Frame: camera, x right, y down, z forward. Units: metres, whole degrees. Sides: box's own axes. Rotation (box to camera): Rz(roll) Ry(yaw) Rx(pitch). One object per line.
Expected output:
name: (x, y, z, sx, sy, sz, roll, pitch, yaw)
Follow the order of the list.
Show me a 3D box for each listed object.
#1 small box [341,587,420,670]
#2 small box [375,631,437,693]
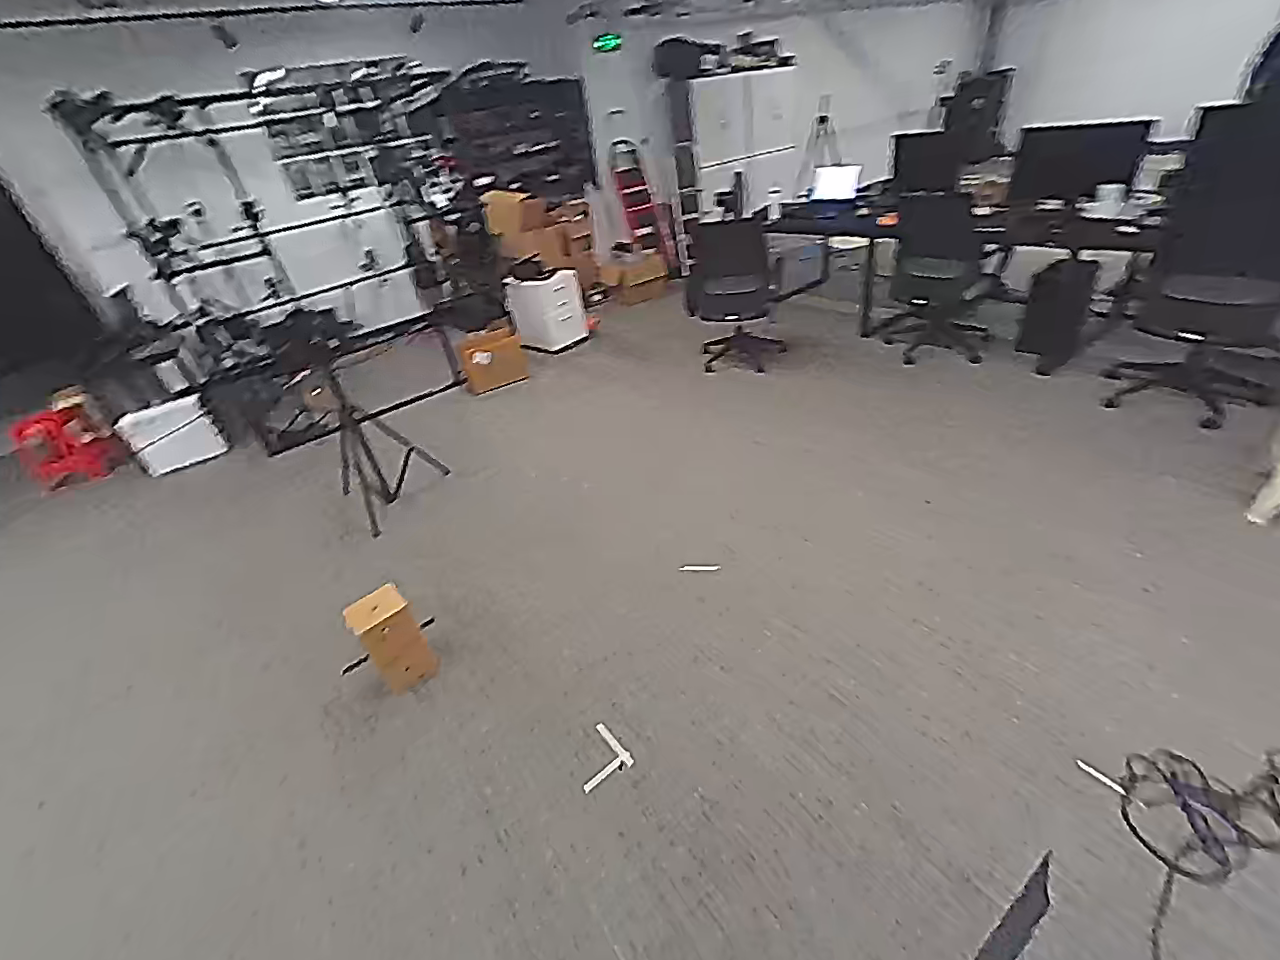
small box: (-0.879, 0.508, 1.853, 0.179, 0.176, 0.168, -34, 40, -30)
small box: (-0.855, 0.636, 1.951, 0.168, 0.176, 0.179, -27, 36, -24)
